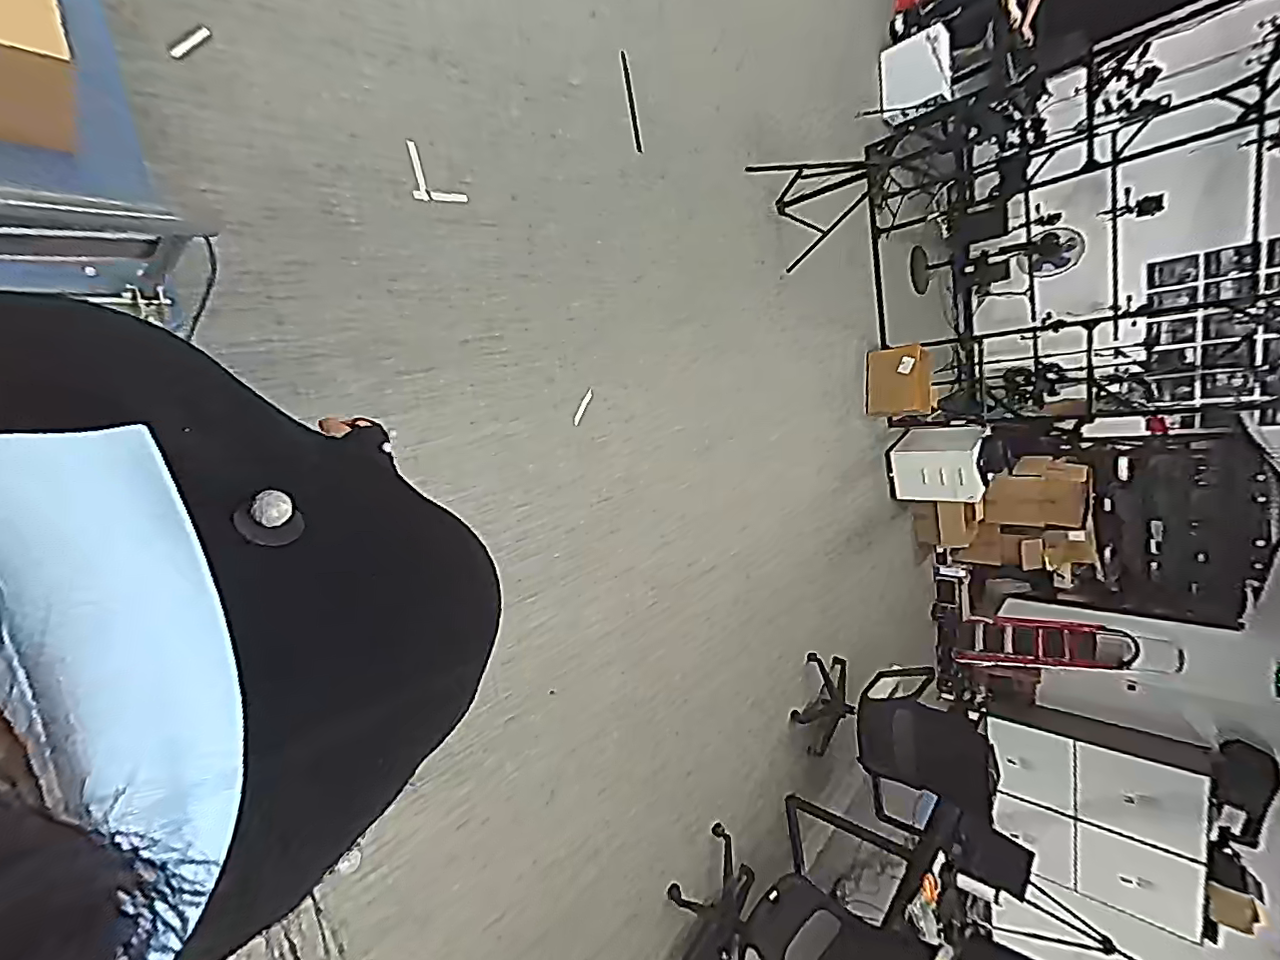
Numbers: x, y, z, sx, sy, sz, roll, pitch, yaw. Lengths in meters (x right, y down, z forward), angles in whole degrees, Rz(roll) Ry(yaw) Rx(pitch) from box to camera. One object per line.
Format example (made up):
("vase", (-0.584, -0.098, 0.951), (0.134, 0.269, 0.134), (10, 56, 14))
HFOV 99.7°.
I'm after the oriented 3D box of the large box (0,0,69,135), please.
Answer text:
("large box", (-1.019, -0.683, 0.653), (0.408, 0.320, 0.320), (-15, 101, -44))
